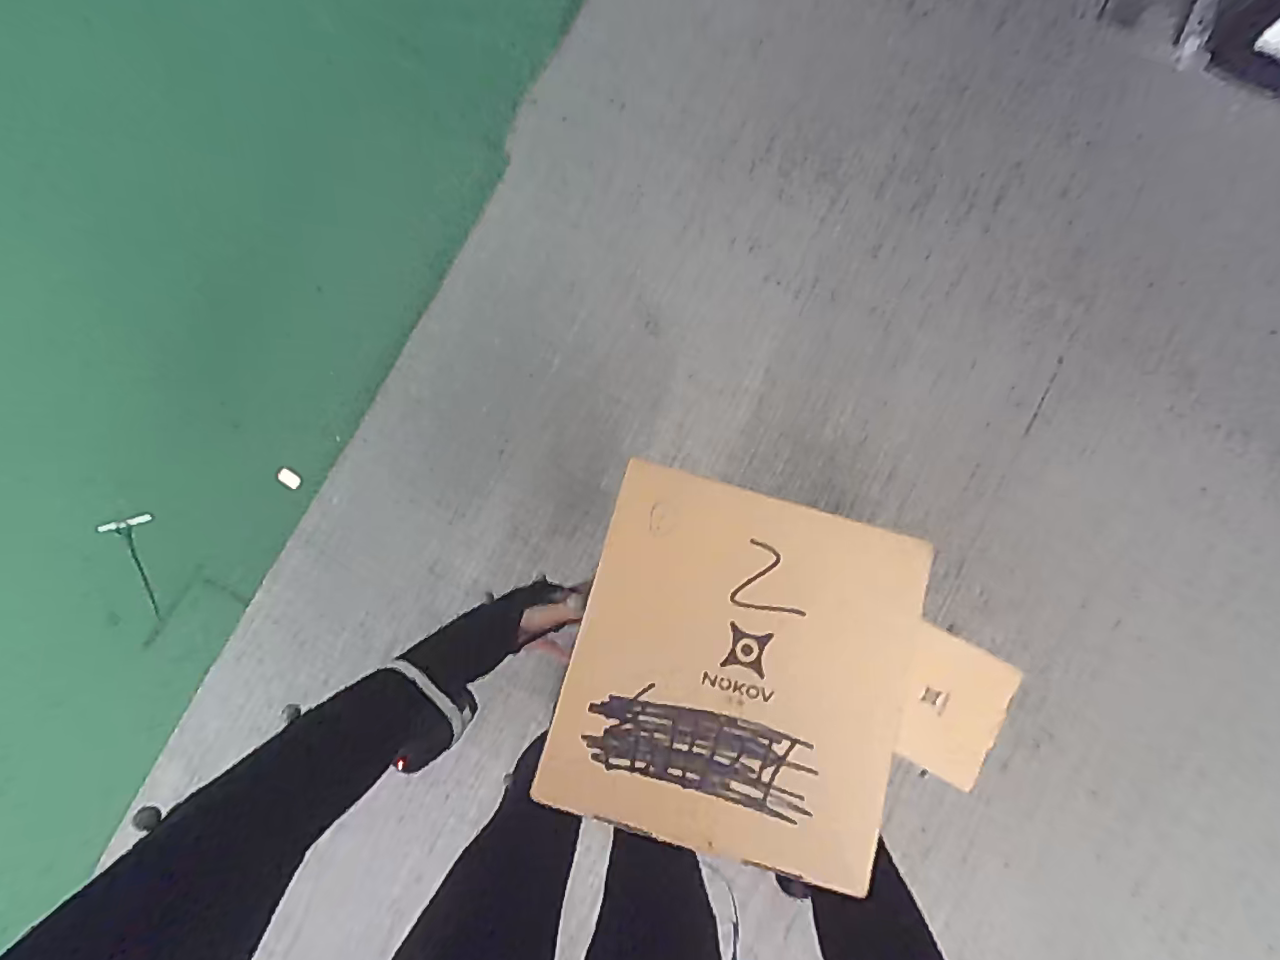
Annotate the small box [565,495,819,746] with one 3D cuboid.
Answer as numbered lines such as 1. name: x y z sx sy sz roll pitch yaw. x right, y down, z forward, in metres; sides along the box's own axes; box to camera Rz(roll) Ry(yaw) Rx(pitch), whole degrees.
1. small box: 0.042 0.122 0.517 0.179 0.176 0.168 16 81 1
